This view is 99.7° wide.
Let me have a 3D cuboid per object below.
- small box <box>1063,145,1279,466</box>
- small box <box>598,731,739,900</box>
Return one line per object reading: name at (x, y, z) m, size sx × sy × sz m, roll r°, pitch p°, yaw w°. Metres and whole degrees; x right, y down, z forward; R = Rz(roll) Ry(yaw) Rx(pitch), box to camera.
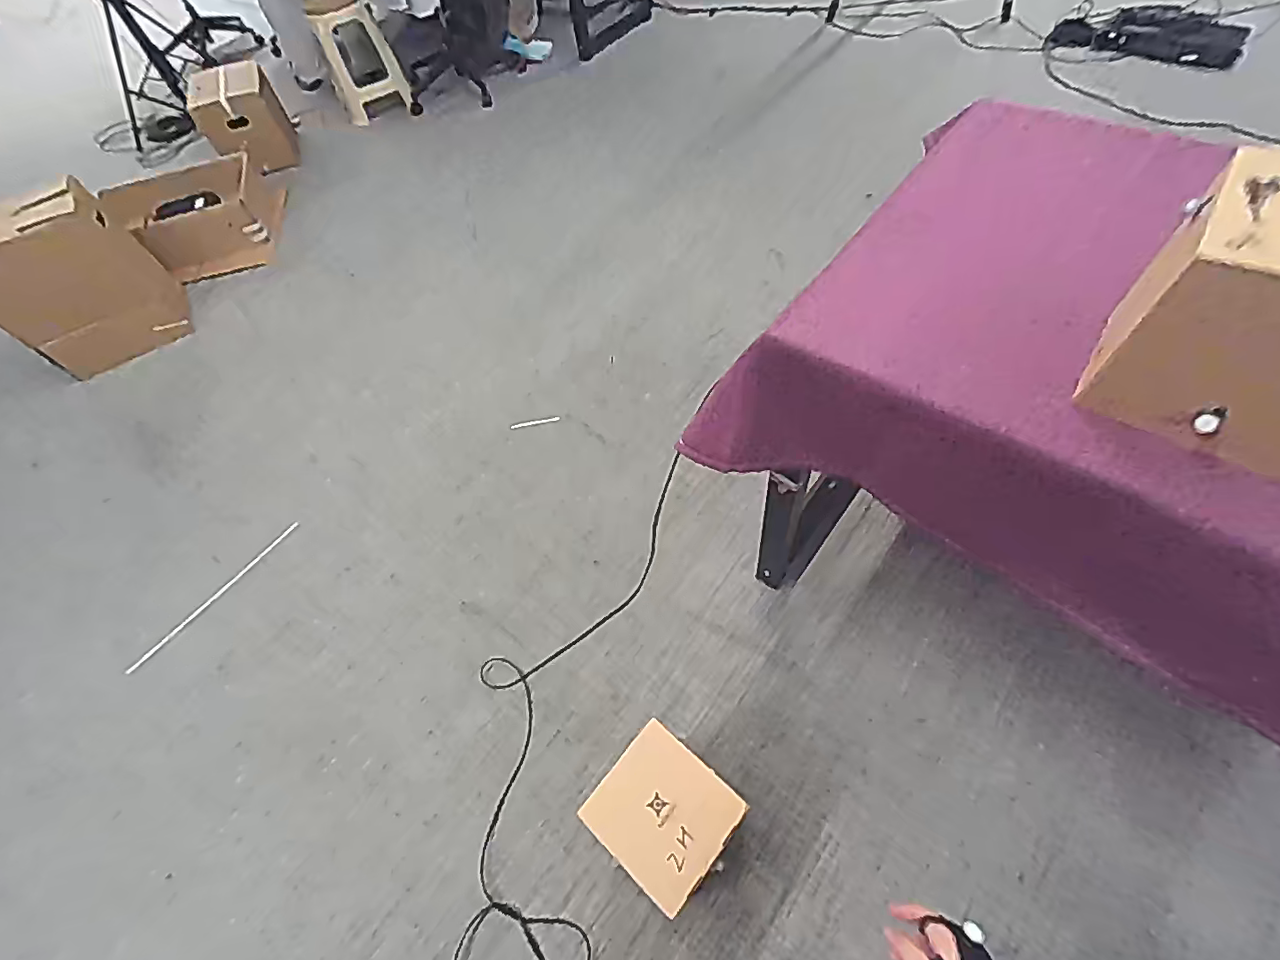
small box at (0.516, -0.136, 0.453) m, size 0.179 × 0.176 × 0.168 m, roll 31°, pitch 66°, yaw 23°
small box at (0.056, 0.575, 0.937) m, size 0.168 × 0.176 × 0.179 m, roll 33°, pitch 67°, yaw 25°
